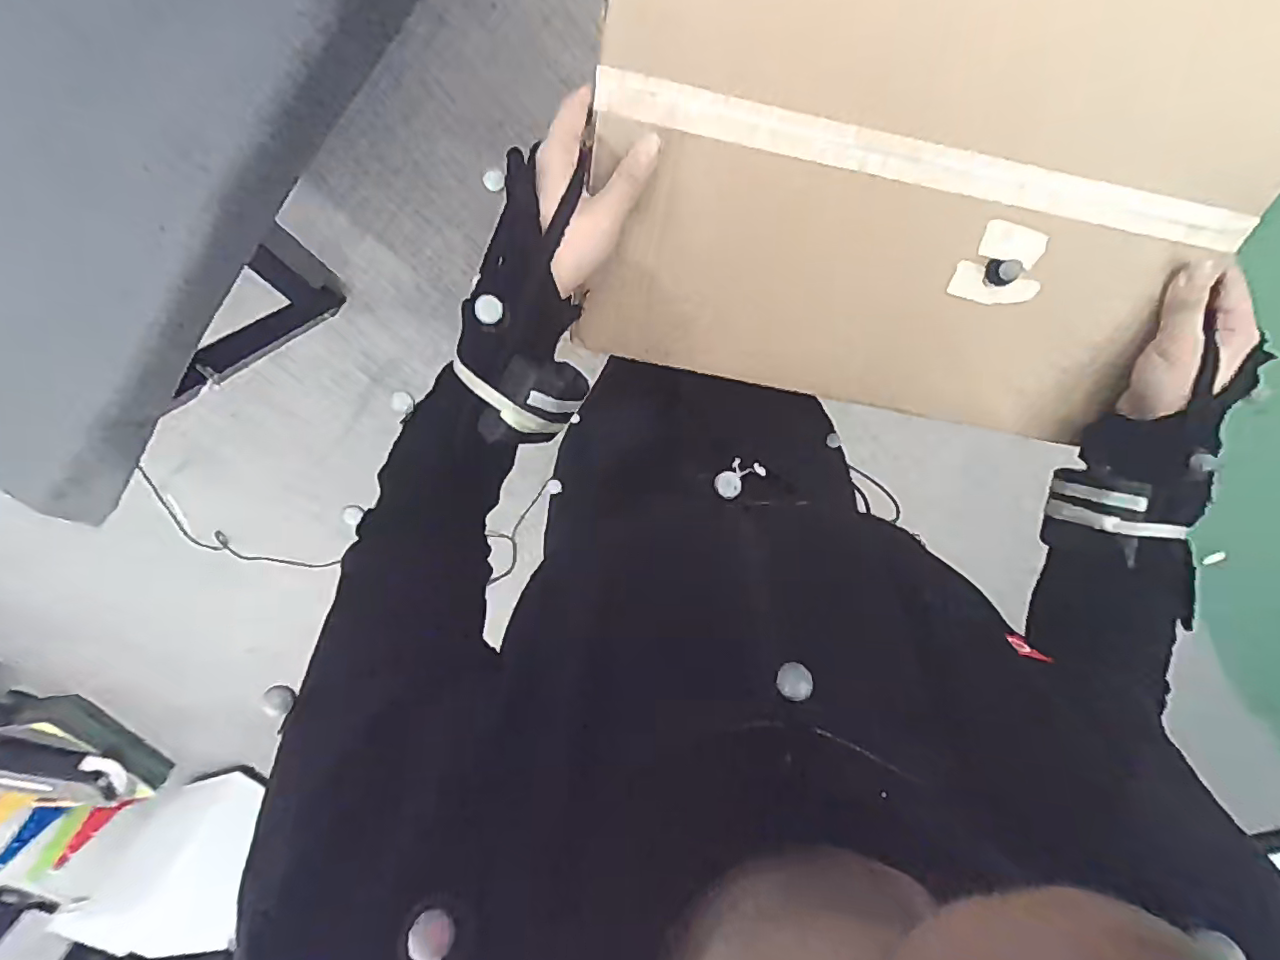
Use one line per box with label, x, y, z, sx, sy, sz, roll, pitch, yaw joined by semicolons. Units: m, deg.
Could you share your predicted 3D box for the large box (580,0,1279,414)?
large box;0.176;-0.283;0.439;0.408;0.320;0.320;9;125;-4
